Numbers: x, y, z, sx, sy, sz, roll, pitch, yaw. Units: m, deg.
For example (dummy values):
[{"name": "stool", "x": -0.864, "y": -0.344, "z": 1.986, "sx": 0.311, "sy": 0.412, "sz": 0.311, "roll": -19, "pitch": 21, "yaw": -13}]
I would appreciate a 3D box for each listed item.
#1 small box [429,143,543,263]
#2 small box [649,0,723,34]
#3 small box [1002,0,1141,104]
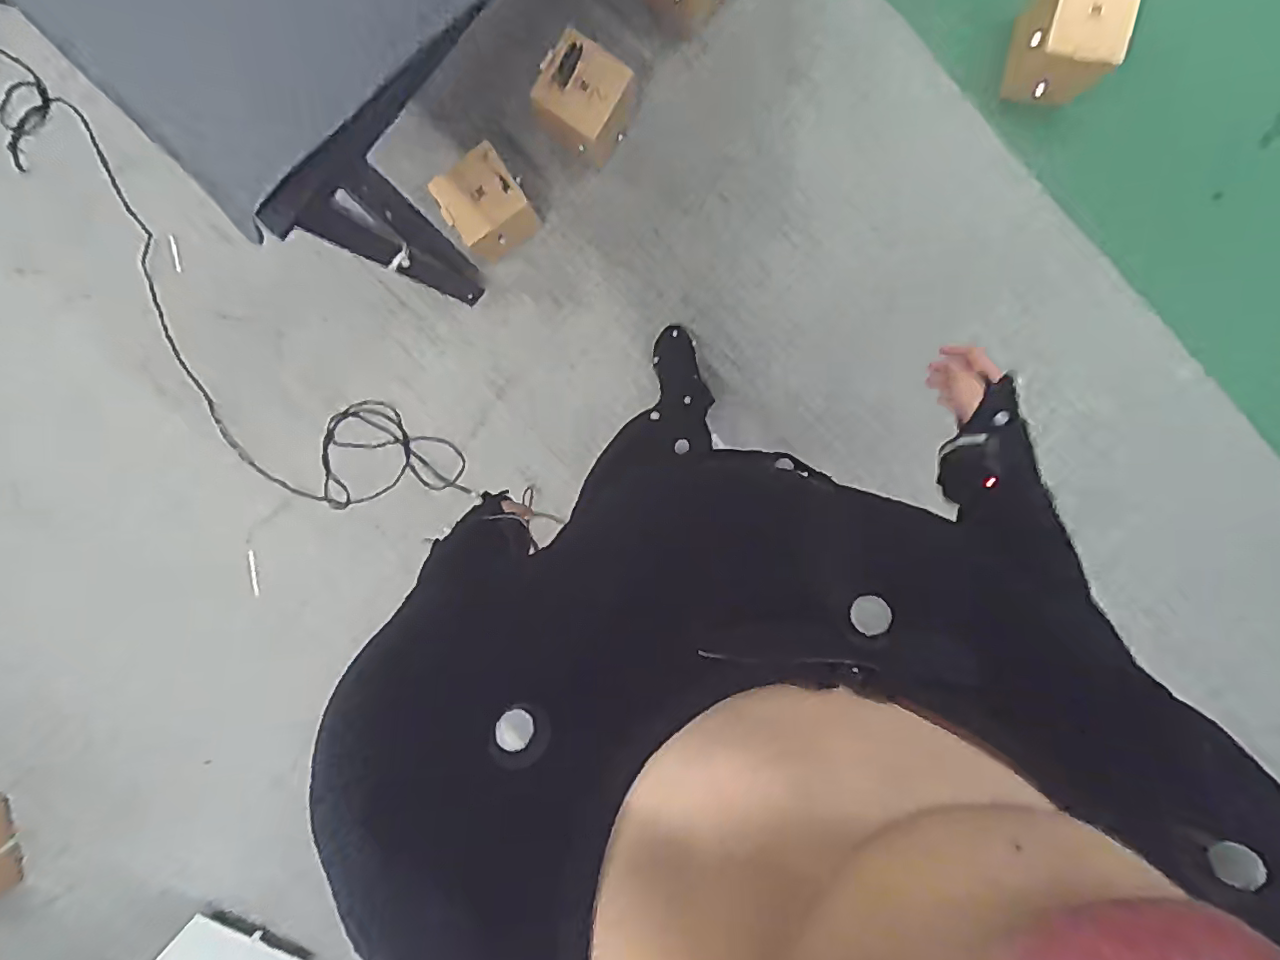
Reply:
[{"name": "small box", "x": -0.361, "y": -0.653, "z": 1.302, "sx": 0.179, "sy": 0.176, "sz": 0.168, "roll": -33, "pitch": 97, "yaw": 8}, {"name": "small box", "x": 0.112, "y": -1.152, "z": 1.199, "sx": 0.179, "sy": 0.176, "sz": 0.168, "roll": 40, "pitch": 98, "yaw": -4}, {"name": "small box", "x": 0.944, "y": -0.979, "z": 1.194, "sx": 0.168, "sy": 0.176, "sz": 0.179, "roll": 9, "pitch": 100, "yaw": 1}]
